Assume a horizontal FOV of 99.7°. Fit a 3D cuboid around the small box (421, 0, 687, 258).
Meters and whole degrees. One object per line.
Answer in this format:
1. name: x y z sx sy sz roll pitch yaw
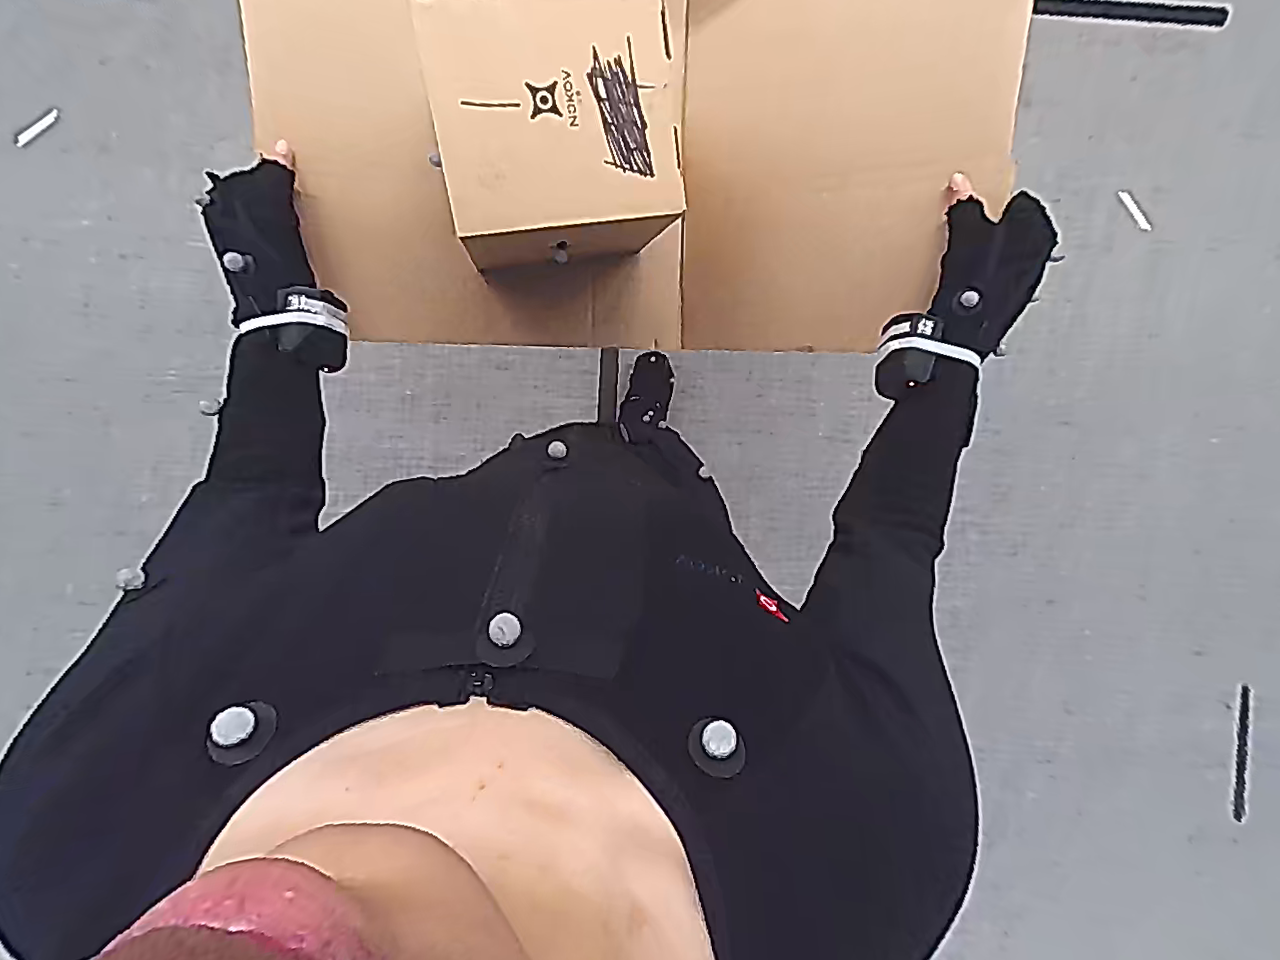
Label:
1. small box: -0.072 -0.298 0.470 0.179 0.176 0.168 -10 105 -9
